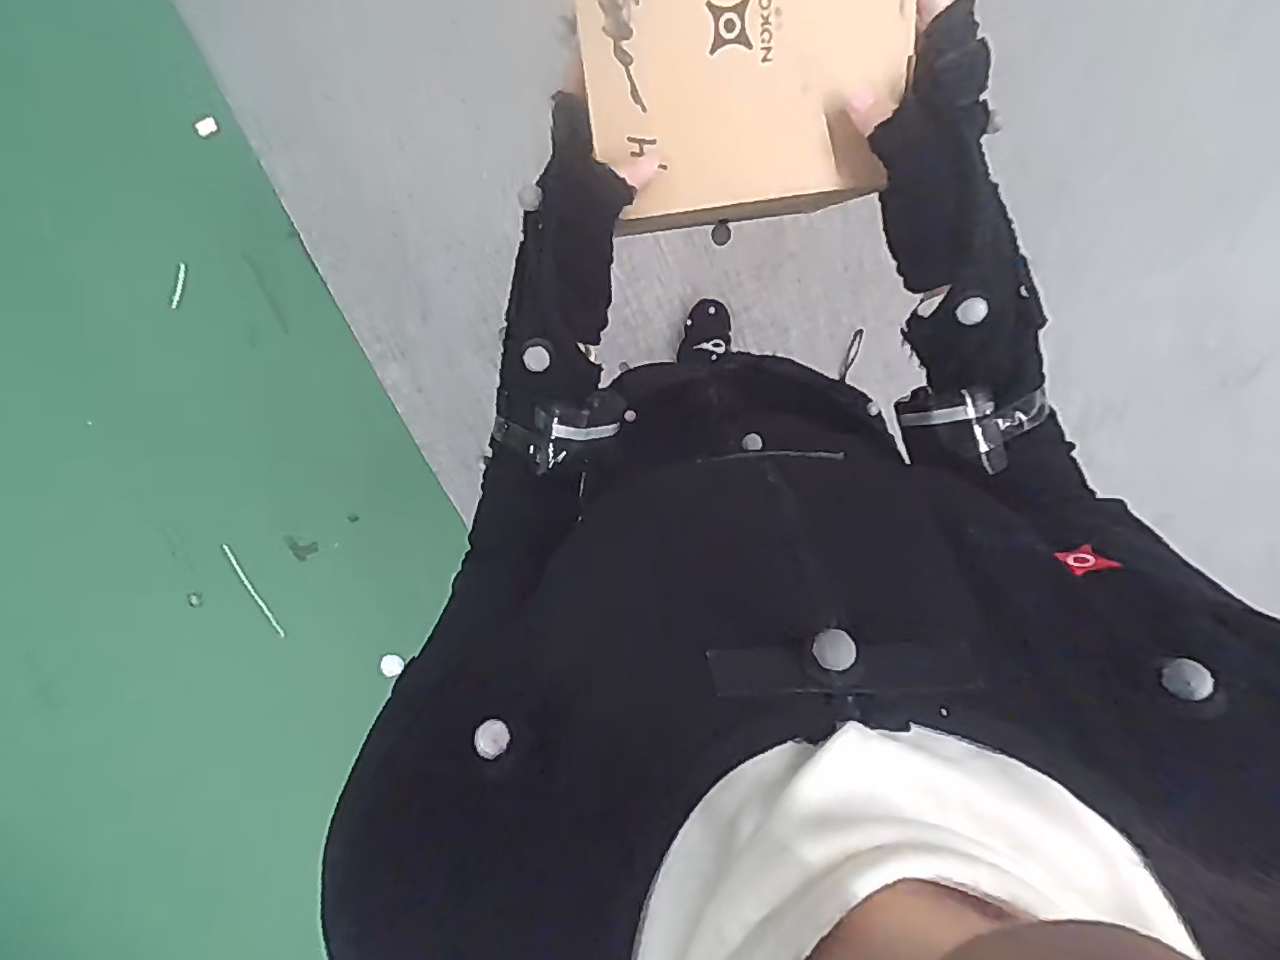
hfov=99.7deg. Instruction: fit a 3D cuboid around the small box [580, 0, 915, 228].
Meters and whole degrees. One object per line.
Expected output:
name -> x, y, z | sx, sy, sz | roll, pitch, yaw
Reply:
small box -> 0.054, -0.269, 0.354 | 0.179, 0.176, 0.168 | -7, 110, 0
